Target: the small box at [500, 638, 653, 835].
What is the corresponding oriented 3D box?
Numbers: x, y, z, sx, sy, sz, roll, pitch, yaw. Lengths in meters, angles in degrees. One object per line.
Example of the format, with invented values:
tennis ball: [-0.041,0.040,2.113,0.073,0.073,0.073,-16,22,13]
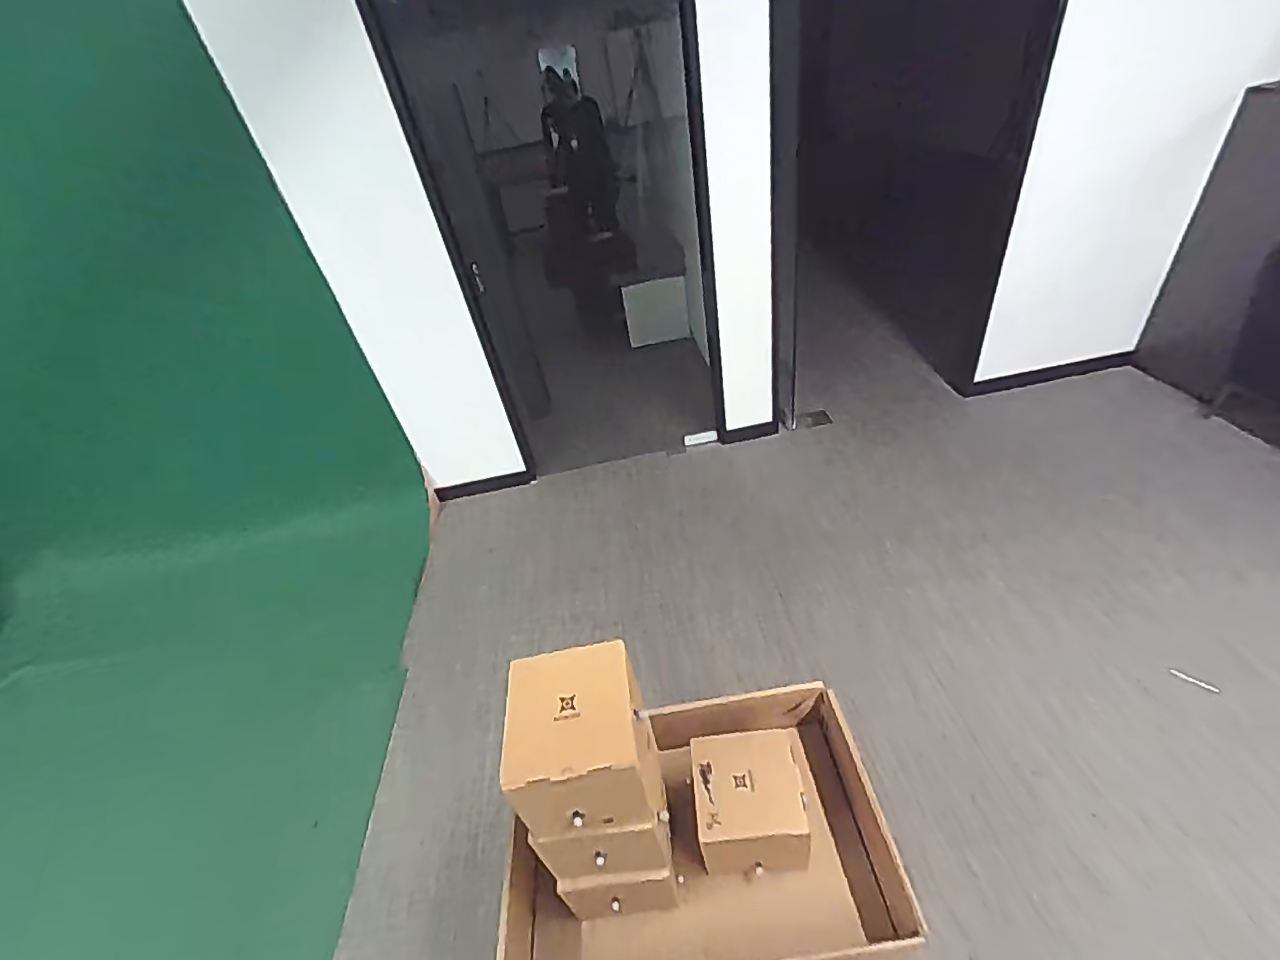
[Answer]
small box: [-0.081,0.352,0.747,0.168,0.176,0.179,-11,38,1]
